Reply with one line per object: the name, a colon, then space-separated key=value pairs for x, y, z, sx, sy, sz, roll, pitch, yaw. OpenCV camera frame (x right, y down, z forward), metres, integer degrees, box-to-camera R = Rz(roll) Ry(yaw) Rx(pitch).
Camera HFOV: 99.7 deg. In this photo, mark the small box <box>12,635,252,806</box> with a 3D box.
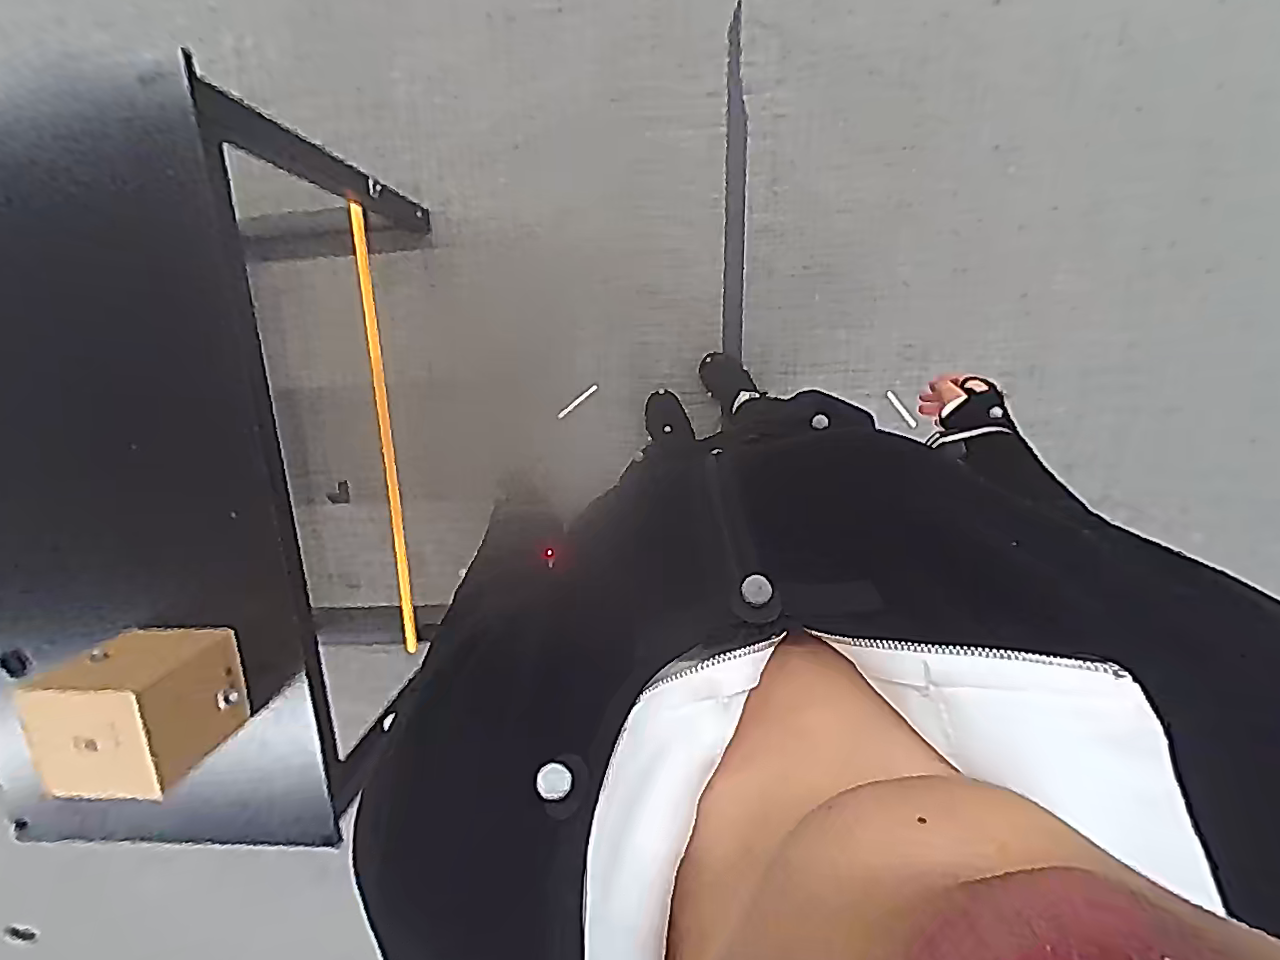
small box: x=-0.723 y=0.341 z=0.791 sx=0.179 sy=0.176 sz=0.168 roll=-2 pitch=103 yaw=3
